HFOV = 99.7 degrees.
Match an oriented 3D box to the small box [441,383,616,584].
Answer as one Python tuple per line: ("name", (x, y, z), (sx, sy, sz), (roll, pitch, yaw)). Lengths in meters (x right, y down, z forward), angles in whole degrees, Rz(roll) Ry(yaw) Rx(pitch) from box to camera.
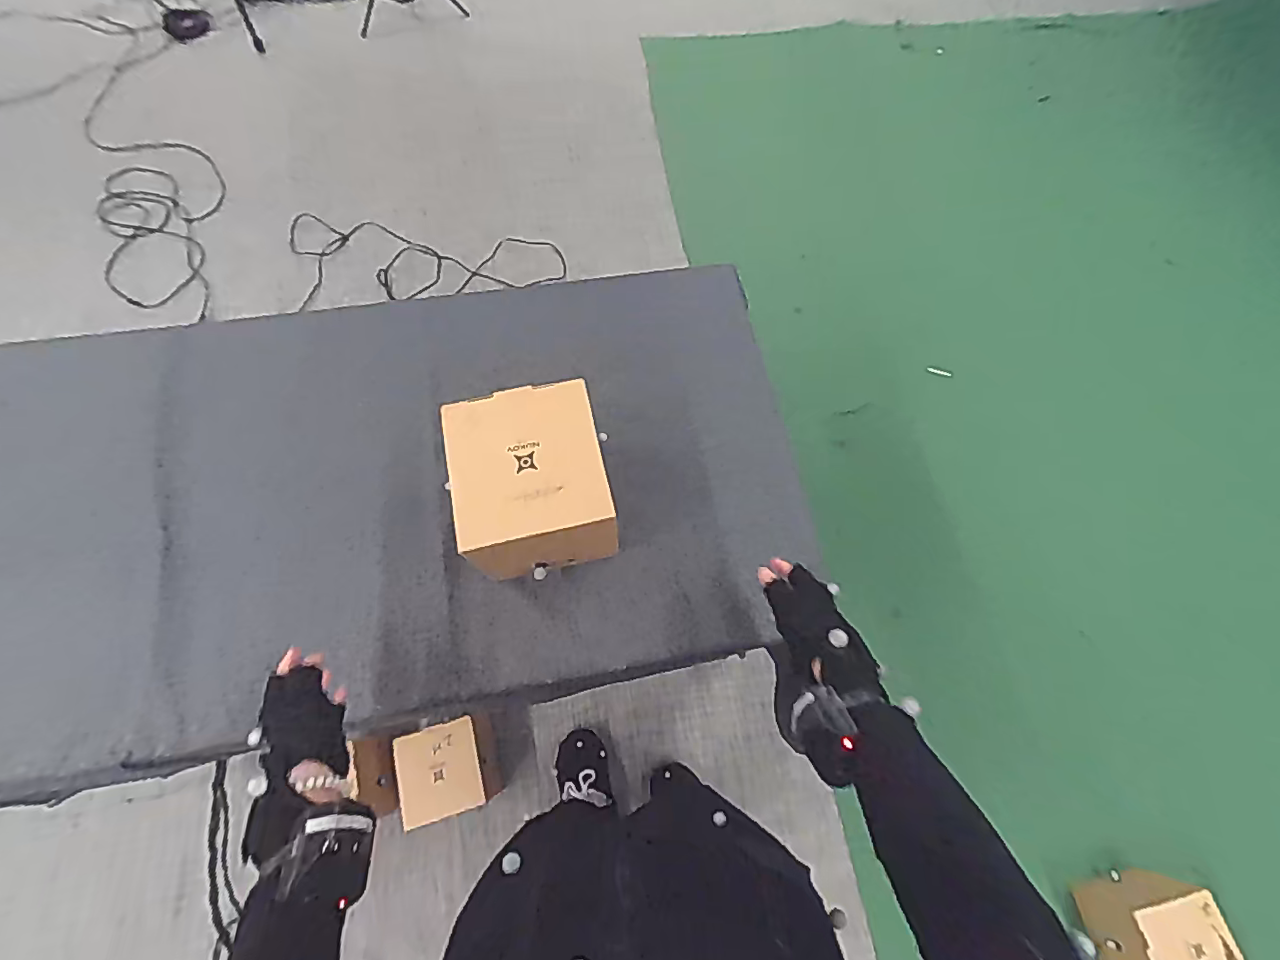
("small box", (-0.126, 0.012, 0.652), (0.168, 0.176, 0.179), (-12, 70, -6))

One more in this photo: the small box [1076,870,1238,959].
("small box", (1.055, 0.937, 1.113), (0.179, 0.176, 0.168), (-10, 69, -5))
